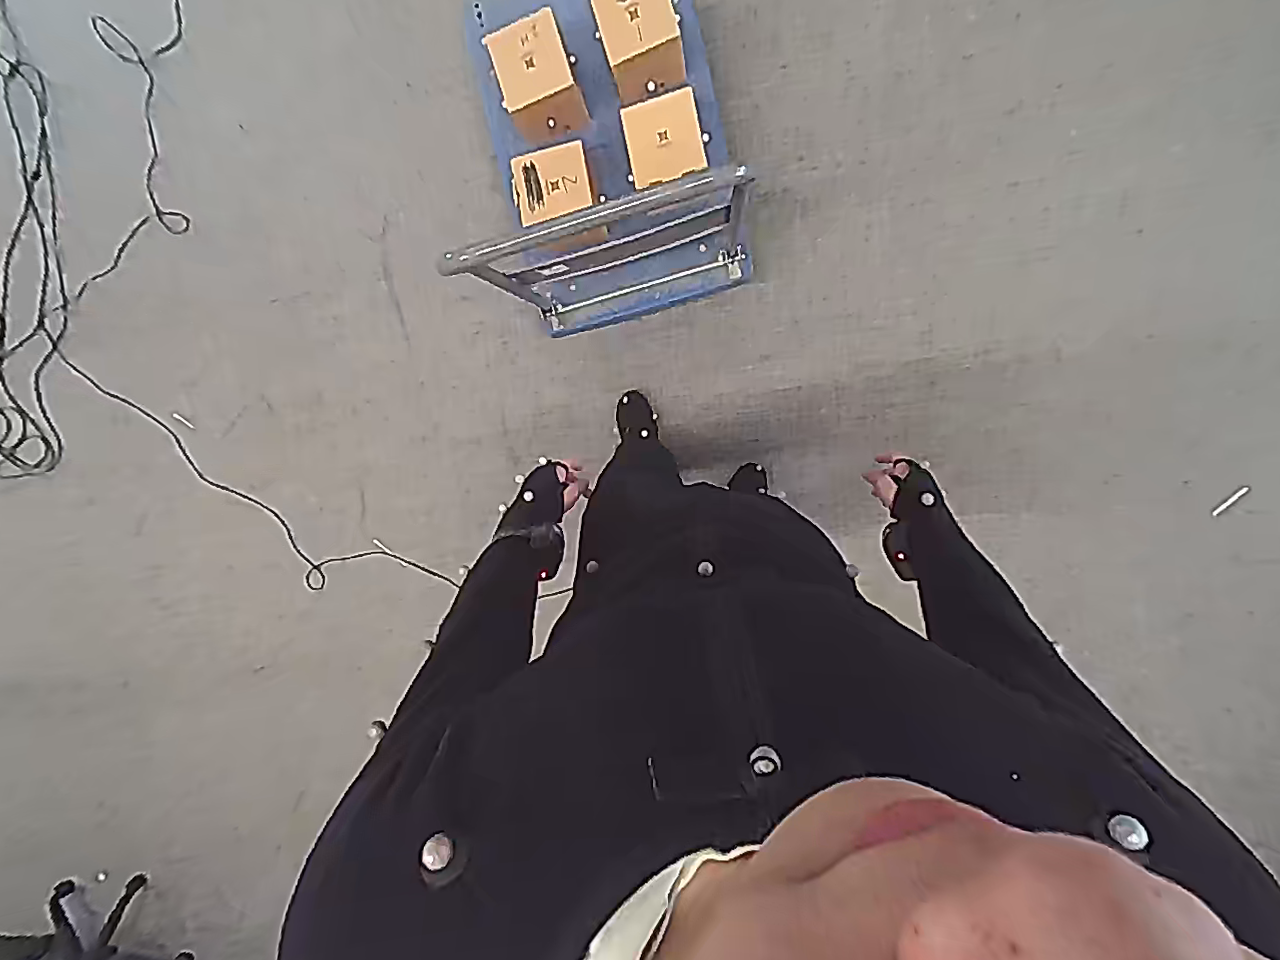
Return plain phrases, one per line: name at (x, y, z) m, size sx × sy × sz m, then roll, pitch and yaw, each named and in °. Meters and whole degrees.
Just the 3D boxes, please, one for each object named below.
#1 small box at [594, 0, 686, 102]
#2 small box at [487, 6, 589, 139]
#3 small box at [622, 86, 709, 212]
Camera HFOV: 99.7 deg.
small box at (0.002, -1.027, 1.244) m, size 0.168 × 0.176 × 0.179 m, roll -16°, pitch 96°, yaw 12°
small box at (-0.235, -0.955, 1.292) m, size 0.168 × 0.176 × 0.179 m, roll -16°, pitch 94°, yaw 10°
small box at (0.066, -0.766, 1.269) m, size 0.168 × 0.176 × 0.179 m, roll -12°, pitch 96°, yaw 10°
